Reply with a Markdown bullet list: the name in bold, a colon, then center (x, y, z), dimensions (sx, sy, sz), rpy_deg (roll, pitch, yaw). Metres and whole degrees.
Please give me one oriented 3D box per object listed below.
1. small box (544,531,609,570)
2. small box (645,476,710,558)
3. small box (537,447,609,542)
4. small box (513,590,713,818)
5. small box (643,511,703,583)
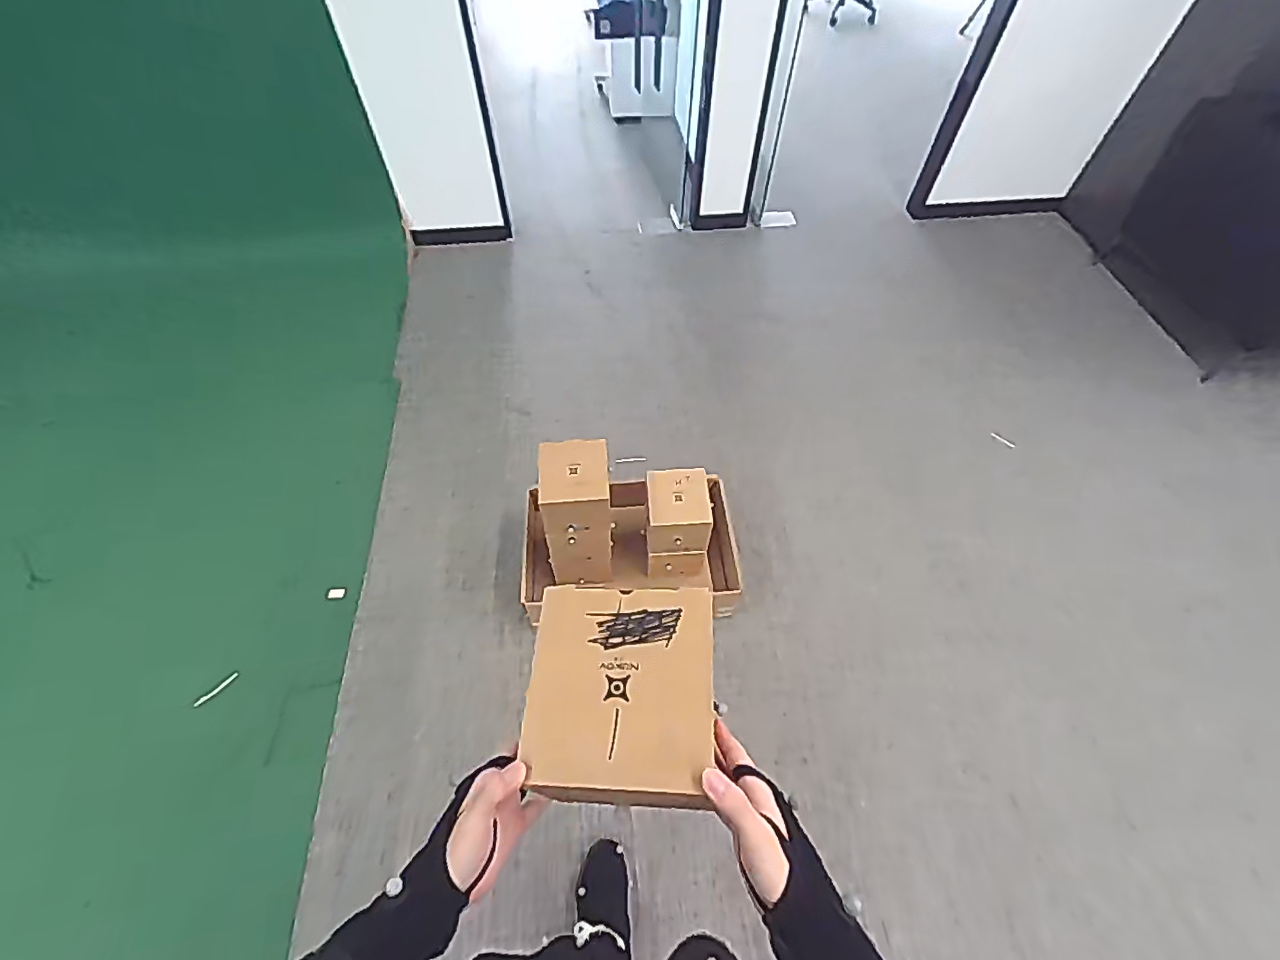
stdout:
- **small box**: center (-0.171, 0.129, 1.482), dimensions (0.168, 0.176, 0.179), rpy_deg (-3, 56, -4)
- **small box**: center (0.099, 0.108, 1.504), dimensions (0.168, 0.176, 0.179), rpy_deg (-2, 55, -2)
- **small box**: center (-0.164, 0.038, 1.346), dimensions (0.168, 0.176, 0.179), rpy_deg (-3, 57, -4)
- **small box**: center (-0.011, 0.228, 0.547), dimensions (0.168, 0.176, 0.179), rpy_deg (0, 55, 8)
- **small box**: center (0.096, 0.204, 1.639), dimensions (0.168, 0.176, 0.179), rpy_deg (-3, 56, -2)
